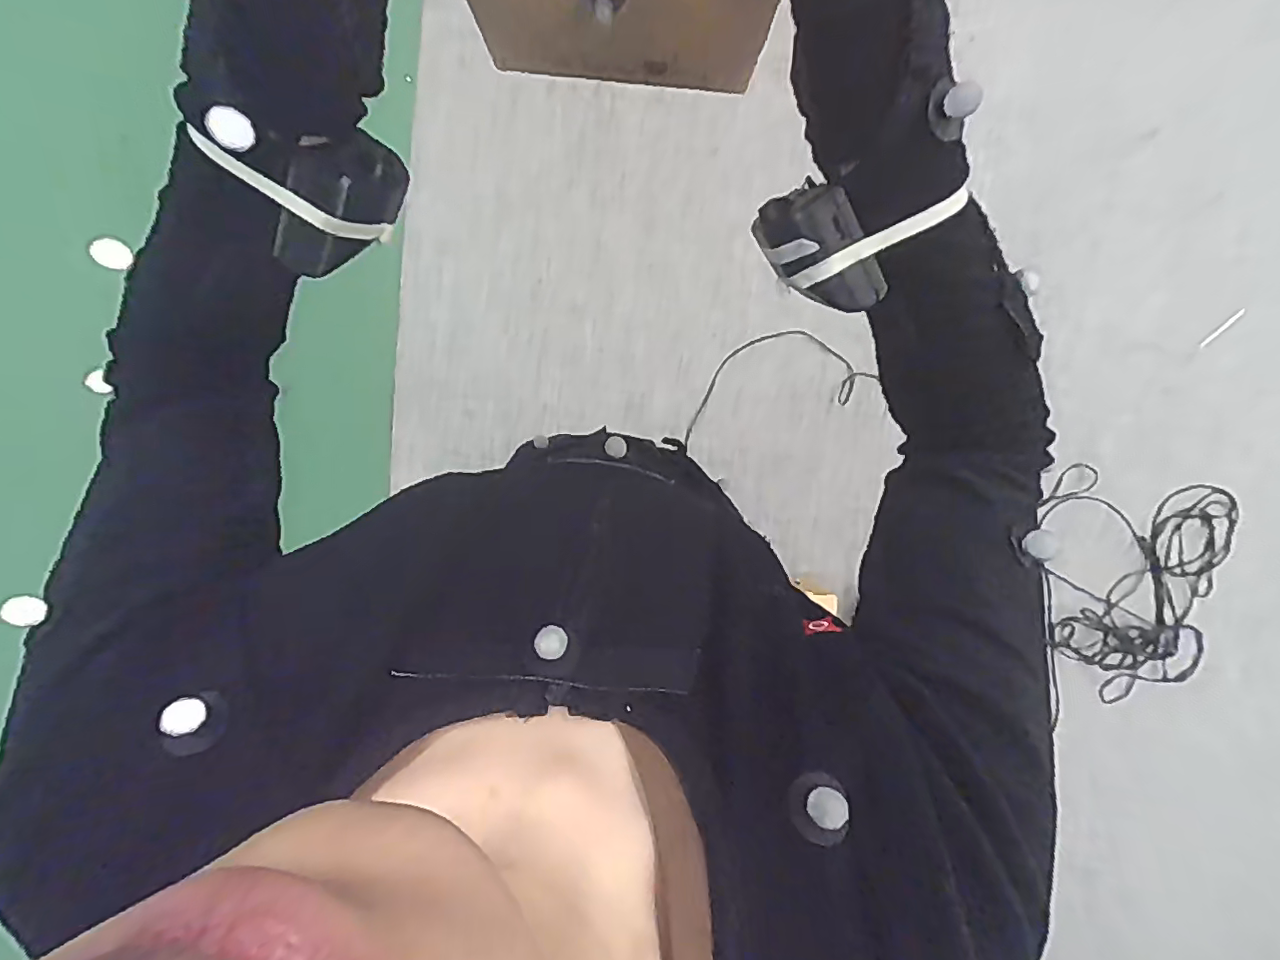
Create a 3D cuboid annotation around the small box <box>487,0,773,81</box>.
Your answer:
[{"bbox_3d":[-0.001,-0.337,0.263,0.168,0.176,0.179,5,98,-2],"label":"small box"}]
